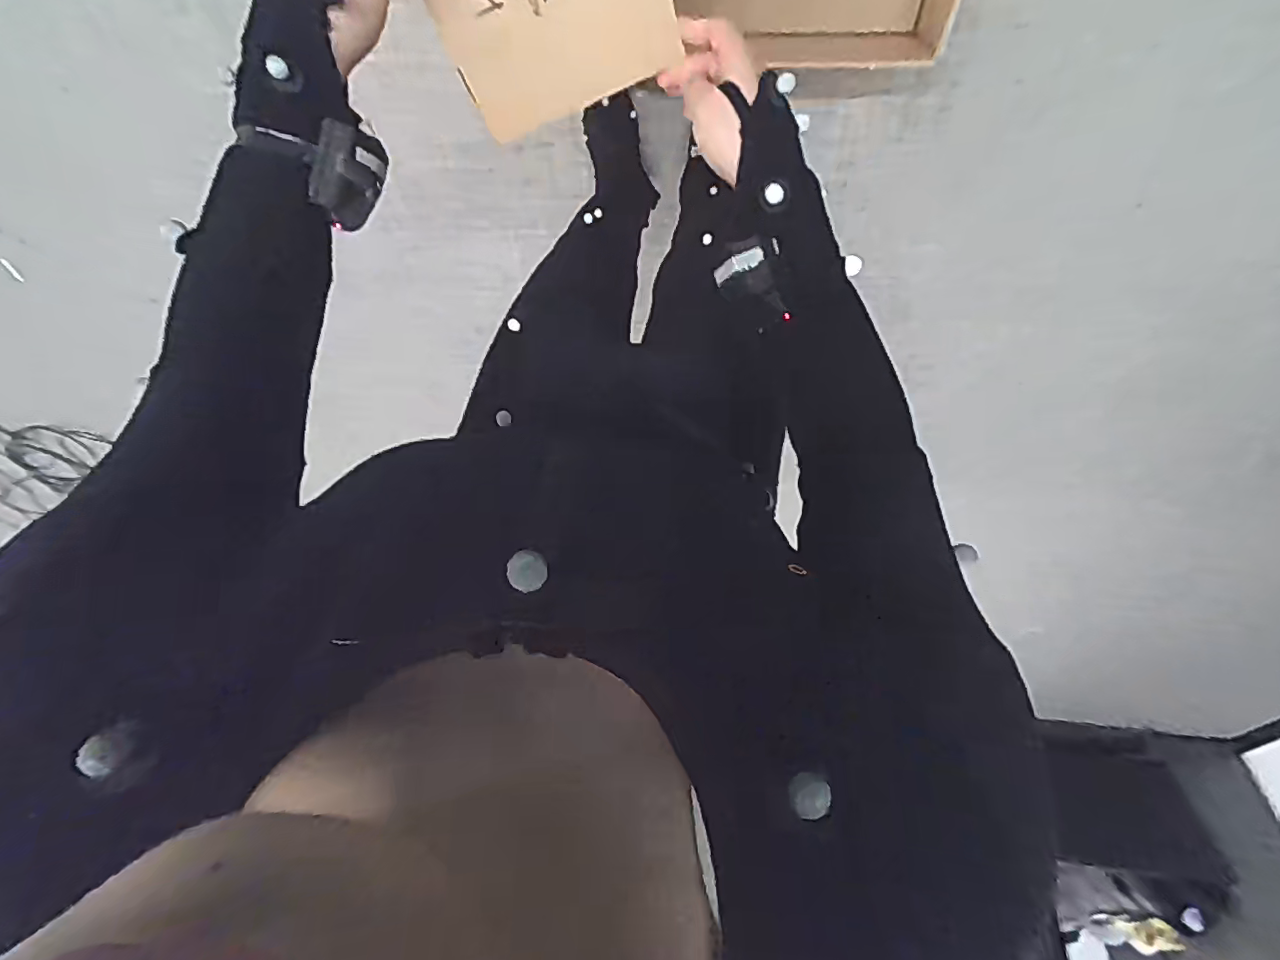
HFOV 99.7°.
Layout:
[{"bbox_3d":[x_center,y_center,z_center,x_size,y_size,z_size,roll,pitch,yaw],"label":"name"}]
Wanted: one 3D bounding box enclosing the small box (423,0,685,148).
[{"bbox_3d":[-0.072,-0.418,0.450,0.179,0.176,0.168,-14,133,15],"label":"small box"}]
